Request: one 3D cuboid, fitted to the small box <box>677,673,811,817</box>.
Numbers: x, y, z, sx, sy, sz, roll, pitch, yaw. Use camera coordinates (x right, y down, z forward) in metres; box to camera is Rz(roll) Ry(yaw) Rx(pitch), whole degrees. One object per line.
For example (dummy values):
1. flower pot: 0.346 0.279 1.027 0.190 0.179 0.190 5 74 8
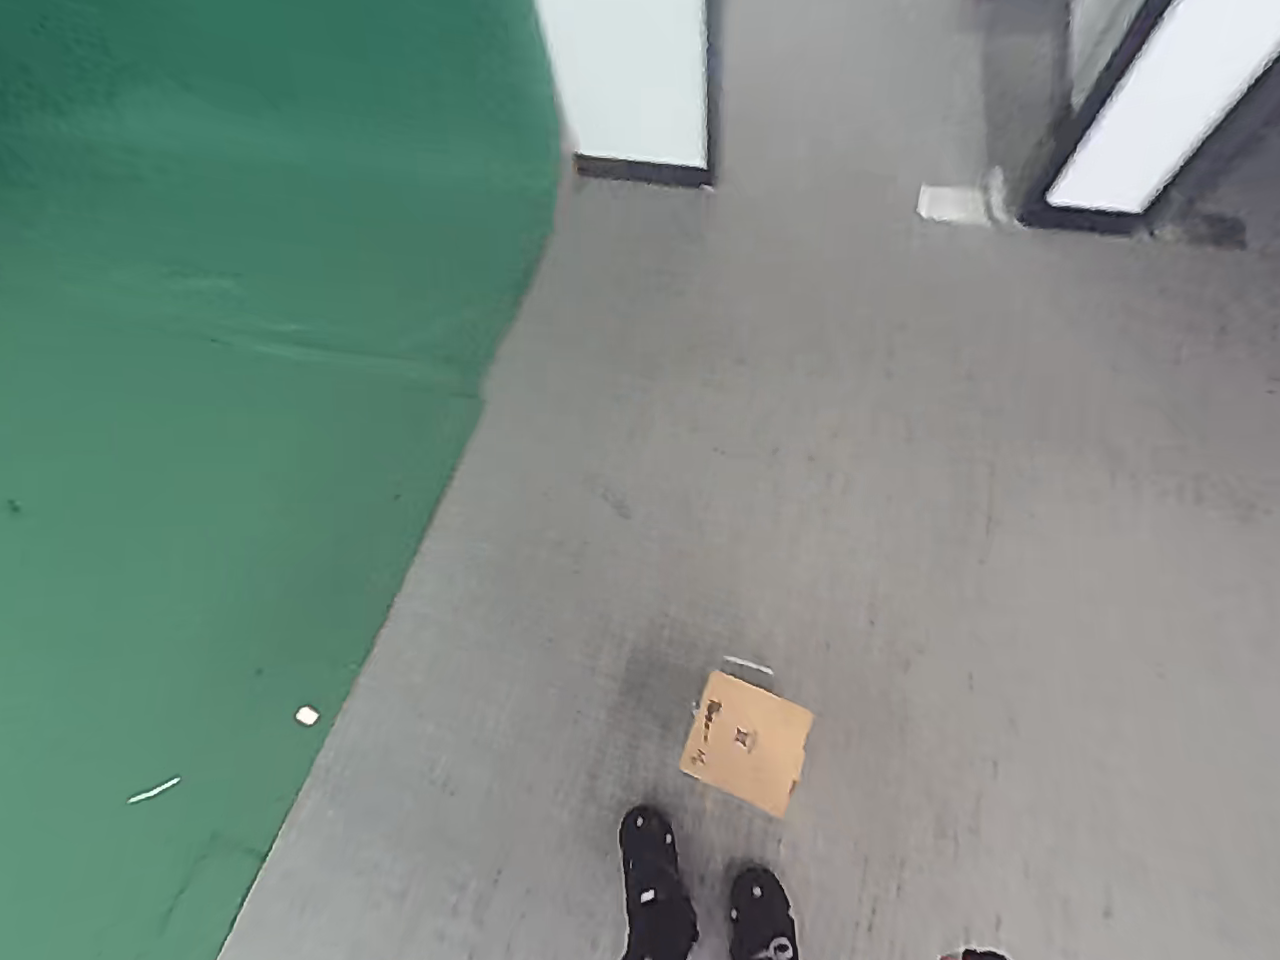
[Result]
1. small box: 0.179 0.448 0.941 0.179 0.176 0.168 17 72 15
